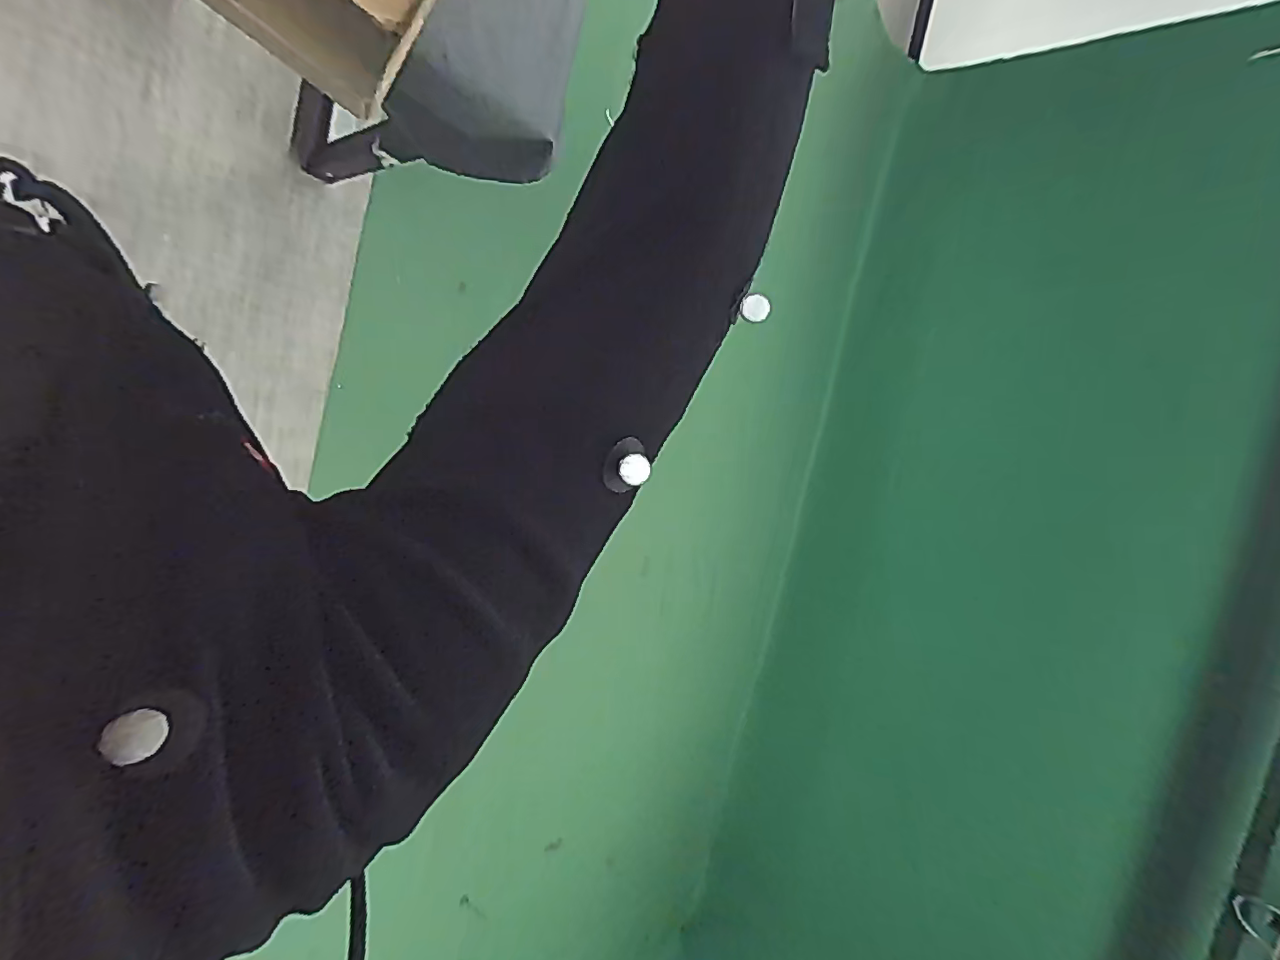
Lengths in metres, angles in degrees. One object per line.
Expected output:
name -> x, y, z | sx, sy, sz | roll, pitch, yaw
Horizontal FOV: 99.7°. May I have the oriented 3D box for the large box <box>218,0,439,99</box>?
large box -> -0.227, -0.437, 0.198 | 0.408, 0.320, 0.320 | 25, 102, -37
